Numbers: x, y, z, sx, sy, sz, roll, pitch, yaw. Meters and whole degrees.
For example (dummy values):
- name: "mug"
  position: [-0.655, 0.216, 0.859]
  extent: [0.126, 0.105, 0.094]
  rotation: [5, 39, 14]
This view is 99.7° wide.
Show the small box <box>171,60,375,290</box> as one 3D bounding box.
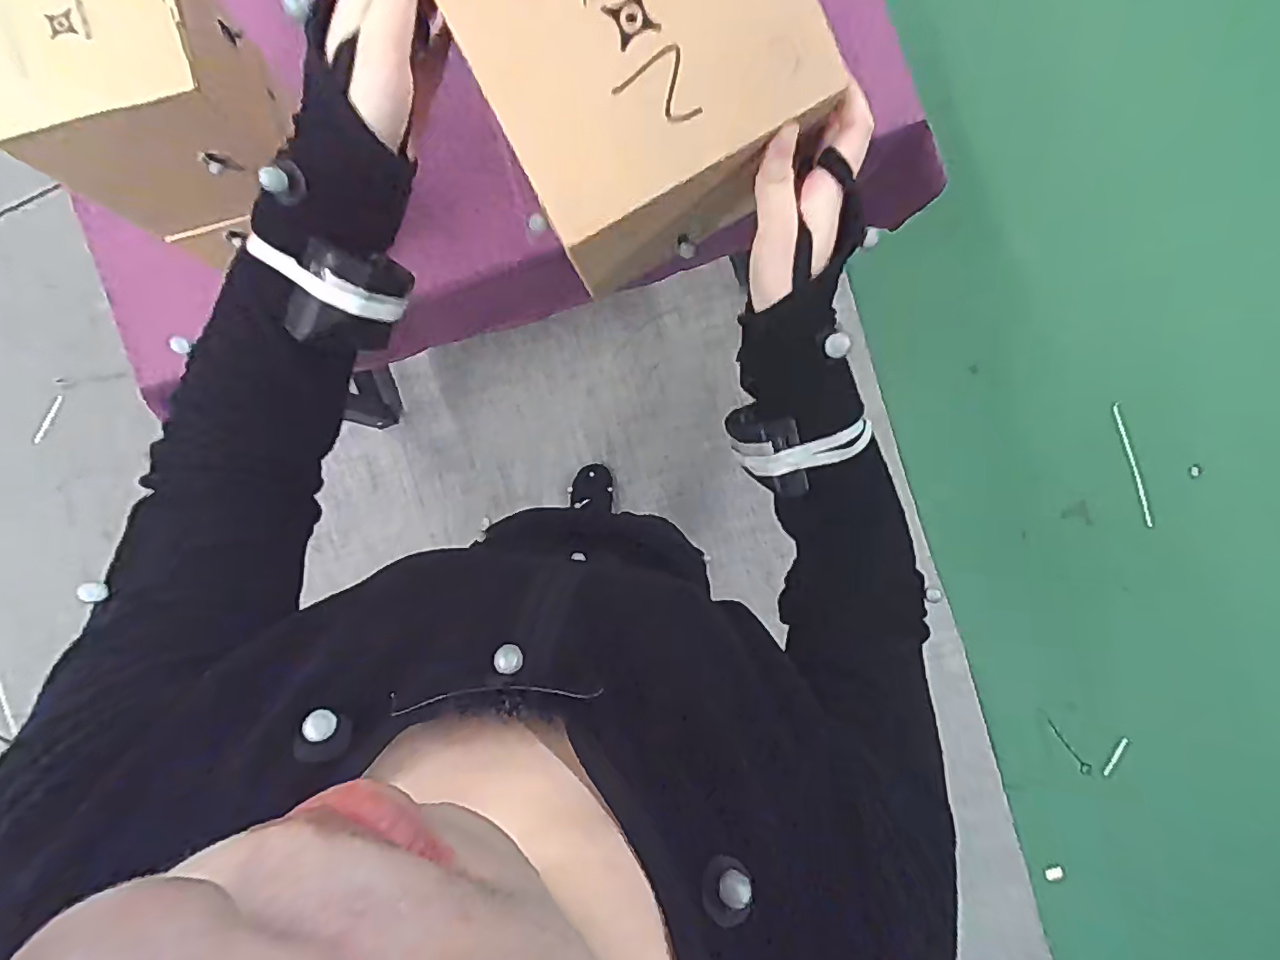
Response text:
- name: "small box"
  position: [-0.474, -0.375, 0.693]
  extent: [0.168, 0.176, 0.179]
  rotation: [-17, 89, -2]

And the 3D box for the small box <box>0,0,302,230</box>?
- name: "small box"
  position: [-0.468, -0.377, 0.529]
  extent: [0.179, 0.176, 0.168]
  rotation: [-16, 89, -2]
